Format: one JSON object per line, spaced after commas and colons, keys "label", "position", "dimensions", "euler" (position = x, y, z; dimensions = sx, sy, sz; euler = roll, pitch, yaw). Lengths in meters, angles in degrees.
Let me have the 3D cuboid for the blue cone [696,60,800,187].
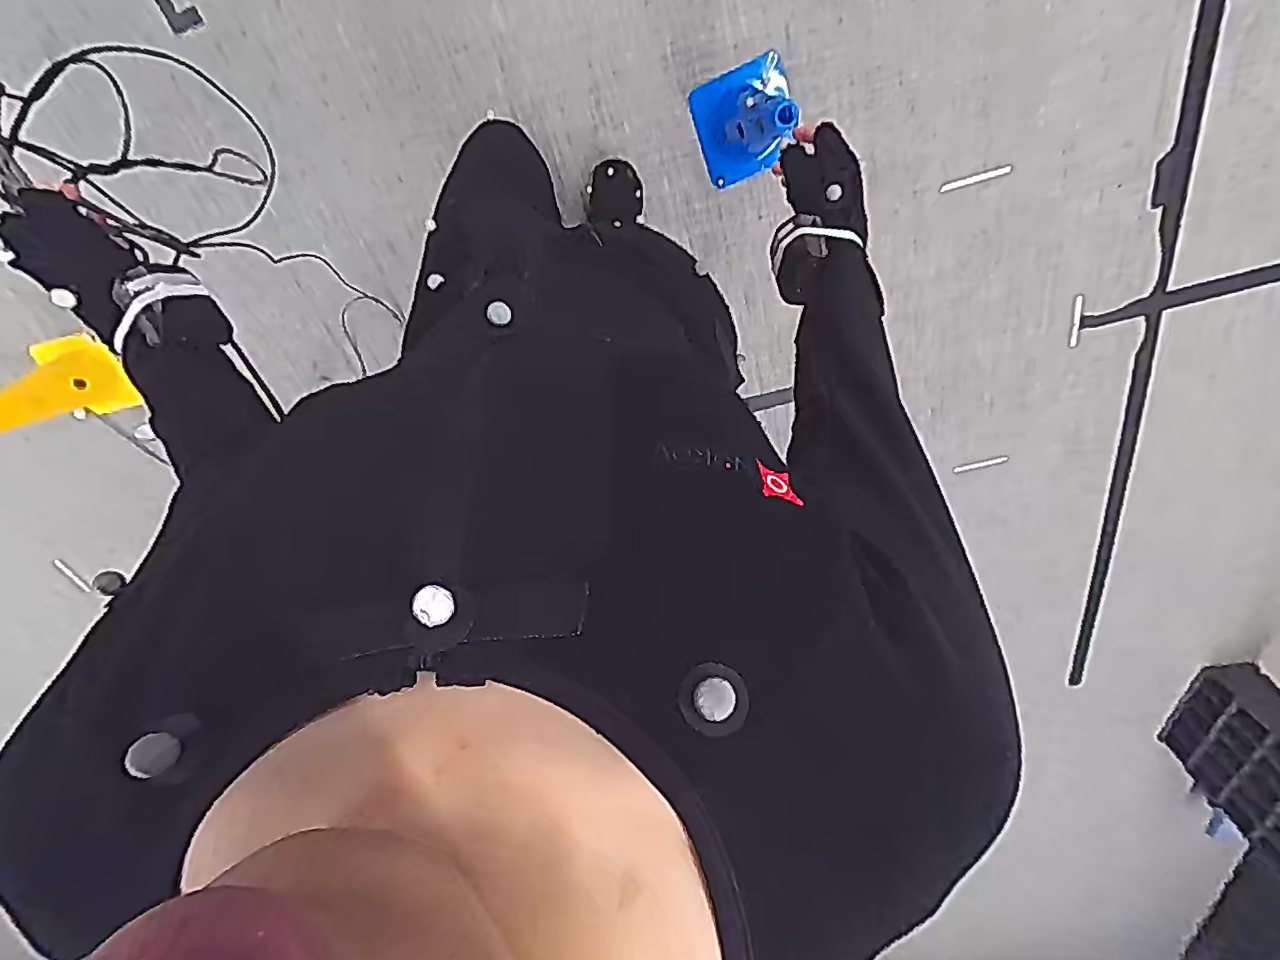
{"label": "blue cone", "position": [0.229, -0.667, 1.006], "dimensions": [0.193, 0.380, 0.192], "euler": [-19, 121, 10]}
